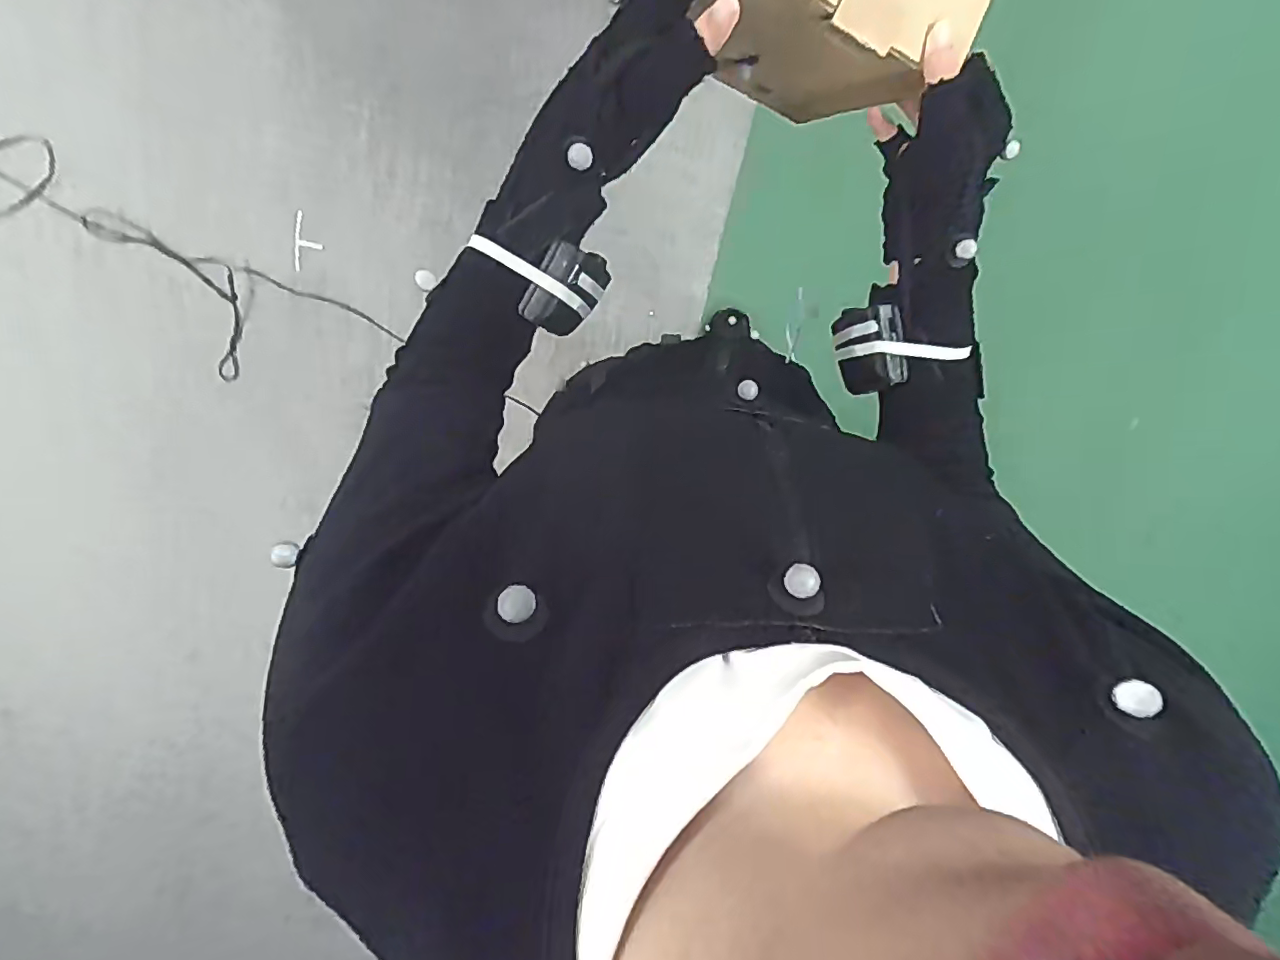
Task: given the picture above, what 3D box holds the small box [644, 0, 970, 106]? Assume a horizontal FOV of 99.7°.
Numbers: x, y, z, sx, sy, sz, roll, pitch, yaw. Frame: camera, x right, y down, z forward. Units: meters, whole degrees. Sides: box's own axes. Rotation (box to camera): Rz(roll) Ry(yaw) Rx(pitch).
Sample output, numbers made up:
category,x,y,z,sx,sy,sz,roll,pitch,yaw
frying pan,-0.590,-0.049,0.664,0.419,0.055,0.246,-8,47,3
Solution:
category,x,y,z,sx,sy,sz,roll,pitch,yaw
small box,0.119,-0.387,0.359,0.168,0.176,0.179,7,113,-26
